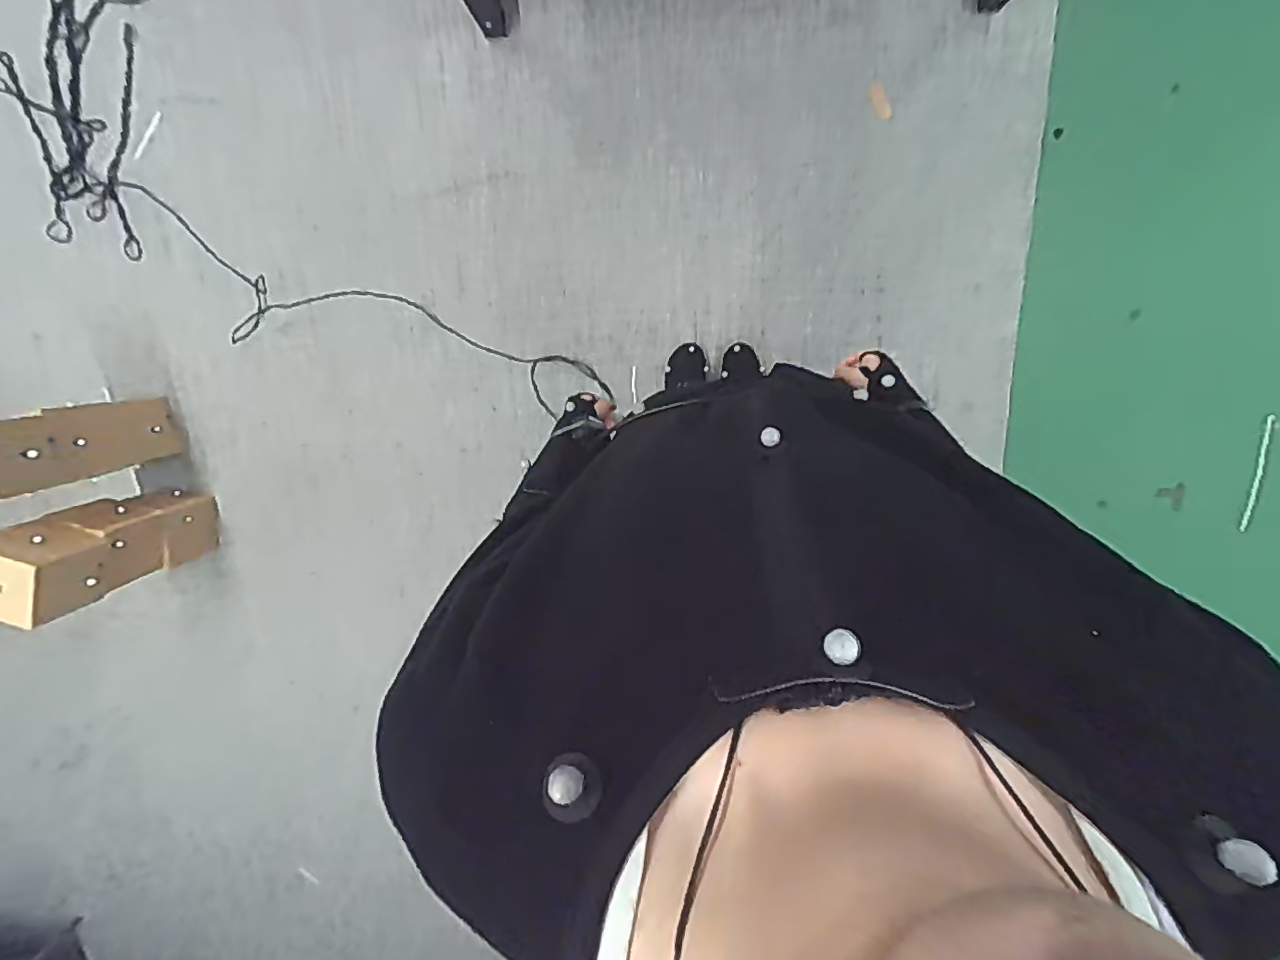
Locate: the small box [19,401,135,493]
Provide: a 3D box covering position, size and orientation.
[{"bbox_3d":[-1.420,-0.086,1.334,0.168,0.176,0.179,-13,103,5],"label":"small box"}]

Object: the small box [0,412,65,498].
[{"bbox_3d":[-1.422,-0.050,1.175,0.179,0.176,0.168,-6,104,3],"label":"small box"}]

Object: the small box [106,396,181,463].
[{"bbox_3d":[-1.425,-0.131,1.490,0.179,0.176,0.168,-9,103,6],"label":"small box"}]

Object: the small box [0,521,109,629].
[{"bbox_3d":[-1.392,0.207,1.239,0.179,0.176,0.168,20,104,-2],"label":"small box"}]

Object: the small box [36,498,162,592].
[{"bbox_3d":[-1.391,0.166,1.398,0.168,0.176,0.179,15,103,0],"label":"small box"}]
